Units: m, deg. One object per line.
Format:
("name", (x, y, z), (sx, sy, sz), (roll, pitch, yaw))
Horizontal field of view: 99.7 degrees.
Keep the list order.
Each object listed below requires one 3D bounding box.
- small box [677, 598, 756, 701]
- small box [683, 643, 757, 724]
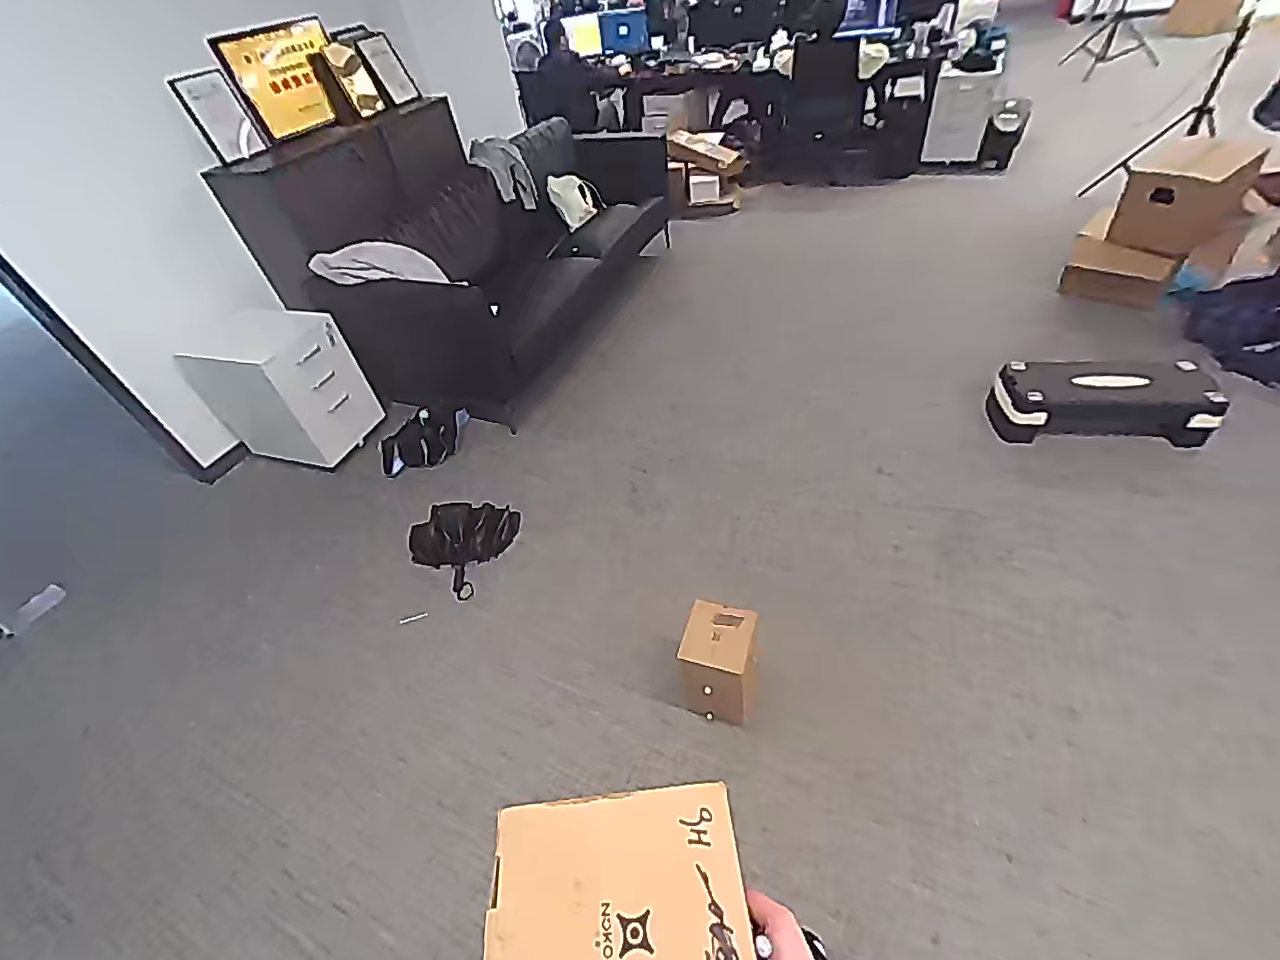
("small box", (0.203, 0.442, 1.410), (0.168, 0.176, 0.179), (9, 47, 20))
("small box", (0.230, 0.555, 1.527), (0.168, 0.176, 0.179), (9, 48, 20))
